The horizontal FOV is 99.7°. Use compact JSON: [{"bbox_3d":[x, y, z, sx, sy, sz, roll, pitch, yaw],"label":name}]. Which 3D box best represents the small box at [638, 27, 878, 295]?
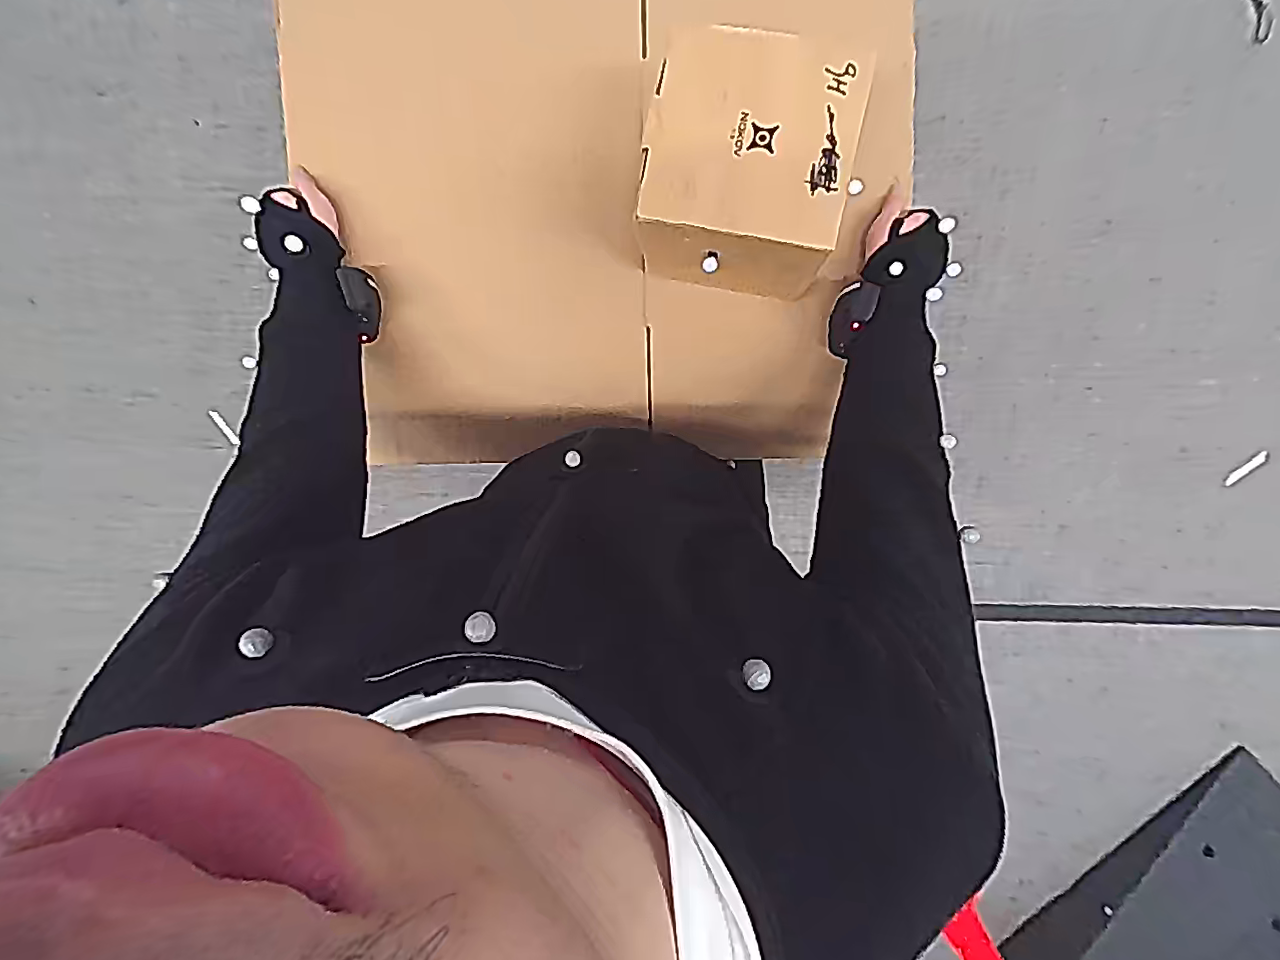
[{"bbox_3d":[0.107,-0.299,0.542,0.179,0.176,0.168,12,95,5],"label":"small box"}]
